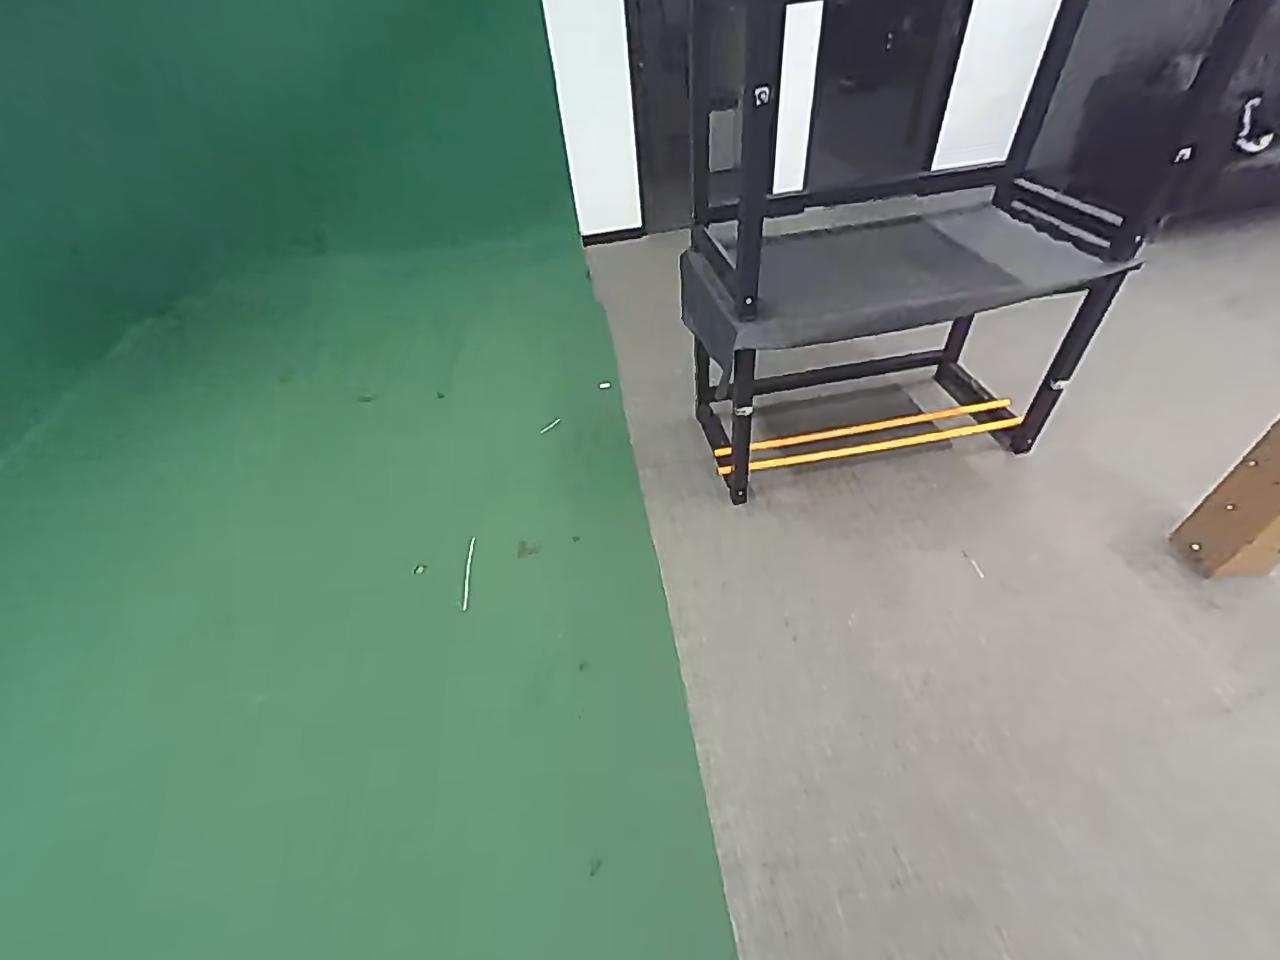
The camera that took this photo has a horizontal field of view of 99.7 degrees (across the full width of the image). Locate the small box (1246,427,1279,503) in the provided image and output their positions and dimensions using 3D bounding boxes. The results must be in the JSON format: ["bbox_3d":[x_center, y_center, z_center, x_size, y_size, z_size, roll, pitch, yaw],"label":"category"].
[{"bbox_3d":[1.753,-0.036,1.399,0.179,0.176,0.168,-7,44,-1],"label":"small box"}]

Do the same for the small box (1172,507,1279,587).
[{"bbox_3d":[1.782,0.202,1.621,0.179,0.176,0.168,-6,43,2],"label":"small box"}]
